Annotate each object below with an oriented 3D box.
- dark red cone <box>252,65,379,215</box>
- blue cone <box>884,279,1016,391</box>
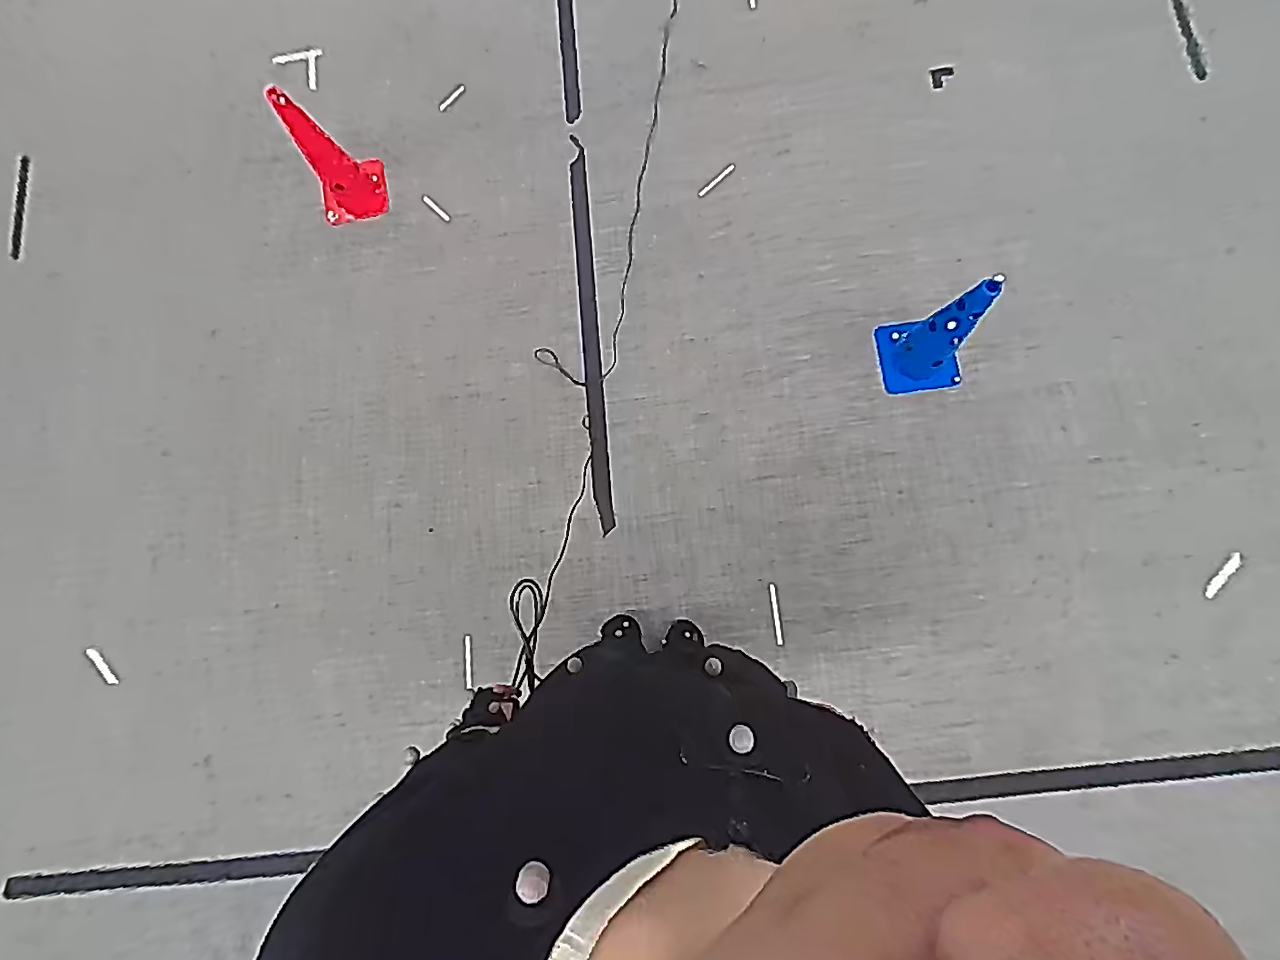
[{"bbox_3d":[-0.902,-0.935,1.479,0.201,0.394,0.202,-13,79,0],"label":"dark red cone"},{"bbox_3d":[0.751,-0.362,1.288,0.192,0.380,0.193,-5,79,2],"label":"blue cone"}]
